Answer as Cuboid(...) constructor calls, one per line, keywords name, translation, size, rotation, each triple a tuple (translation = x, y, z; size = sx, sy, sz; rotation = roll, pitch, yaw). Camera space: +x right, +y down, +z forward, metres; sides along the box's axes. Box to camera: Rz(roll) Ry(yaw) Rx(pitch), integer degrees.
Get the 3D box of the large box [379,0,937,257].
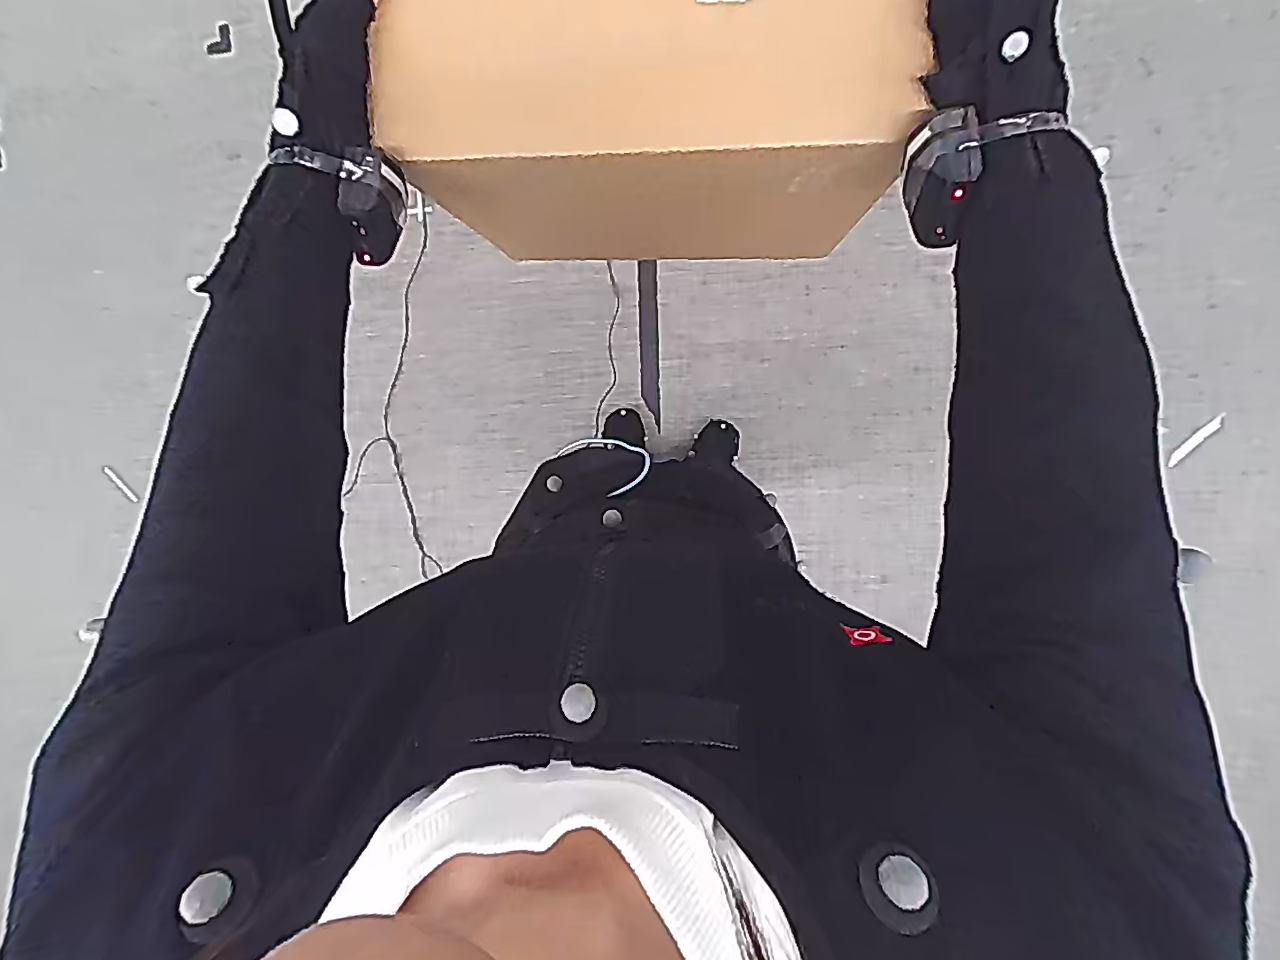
Cuboid(name="large box", translation=(0.017, -0.419, 0.521), size=(0.408, 0.320, 0.320), rotation=(1, 99, 5))
